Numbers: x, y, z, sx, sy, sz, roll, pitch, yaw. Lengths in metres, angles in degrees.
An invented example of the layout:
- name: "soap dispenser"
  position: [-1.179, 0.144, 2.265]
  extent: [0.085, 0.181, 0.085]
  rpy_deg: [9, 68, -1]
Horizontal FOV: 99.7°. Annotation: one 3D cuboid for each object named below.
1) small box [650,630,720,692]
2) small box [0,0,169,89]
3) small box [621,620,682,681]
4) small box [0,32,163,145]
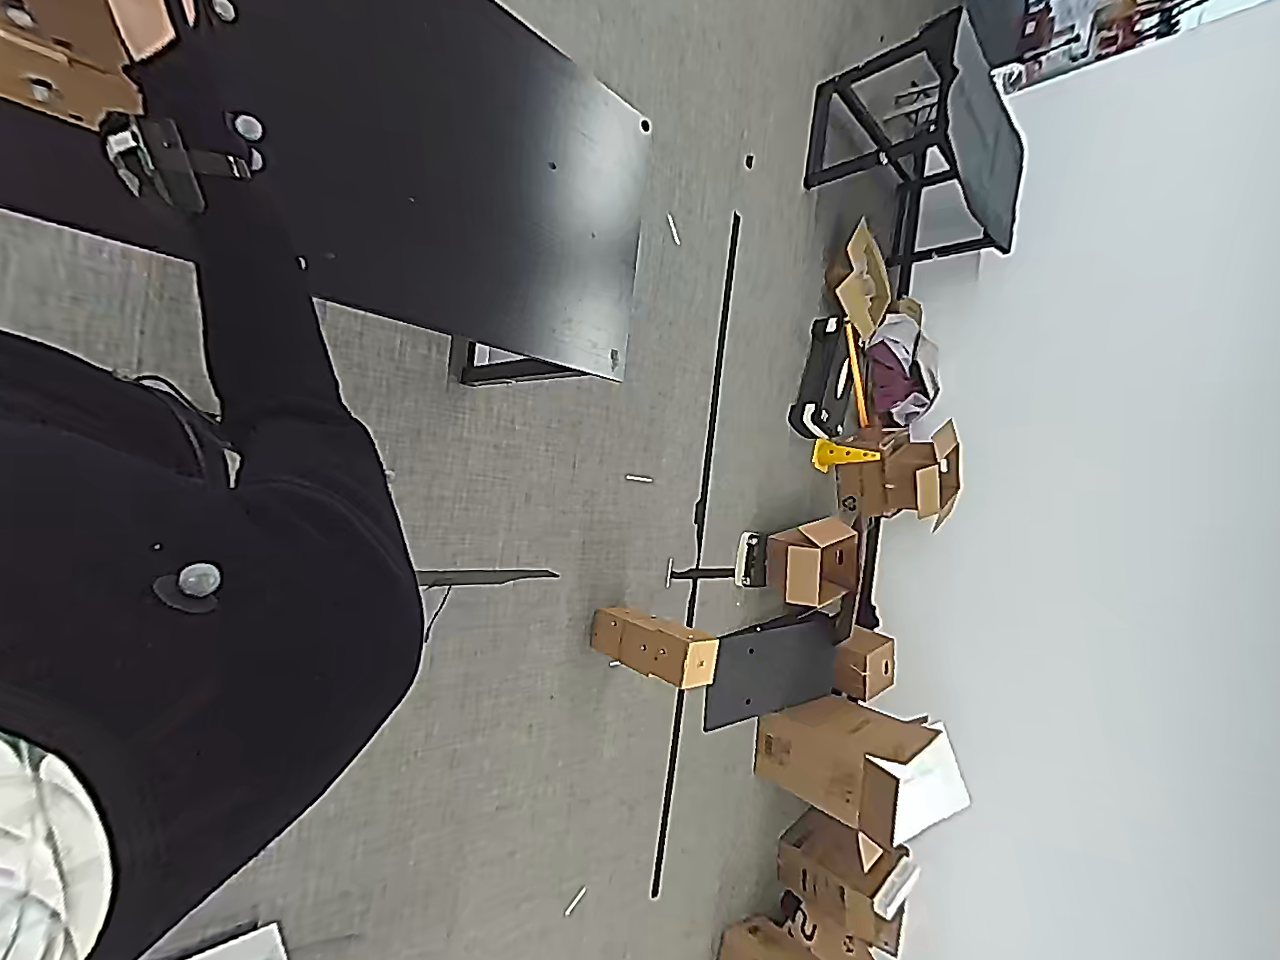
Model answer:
- name: "small box"
  position: [0.164, 0.653, 1.973]
  extent: [0.179, 0.176, 0.168]
  rpy_deg: [10, 88, -43]
- name: "small box"
  position: [-0.489, -0.477, 0.437]
  extent: [0.168, 0.176, 0.179]
  rpy_deg: [5, 91, -43]
- name: "small box"
  position: [0.046, 0.649, 2.085]
  extent: [0.168, 0.176, 0.179]
  rpy_deg: [8, 91, -44]
- name: "small box"
  position: [-0.604, -0.488, 0.556]
  extent: [0.168, 0.176, 0.179]
  rpy_deg: [5, 92, -44]
